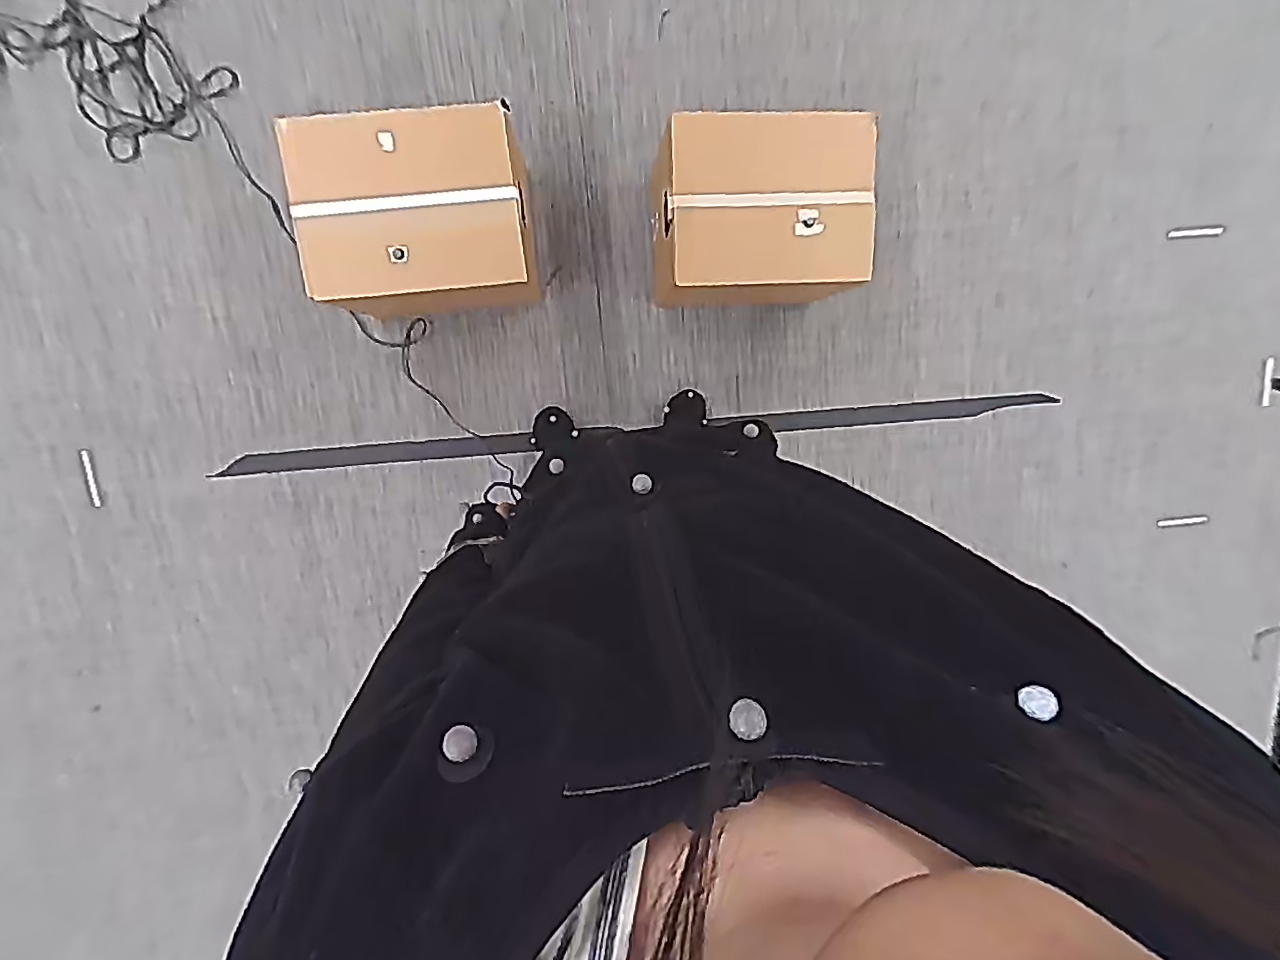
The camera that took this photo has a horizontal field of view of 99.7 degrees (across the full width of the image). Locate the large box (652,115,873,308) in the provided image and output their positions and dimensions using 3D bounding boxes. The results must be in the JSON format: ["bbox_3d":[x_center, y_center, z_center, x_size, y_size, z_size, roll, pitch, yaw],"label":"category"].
[{"bbox_3d":[0.249,-0.572,1.206,0.408,0.320,0.320,-3,100,-5],"label":"large box"}]
